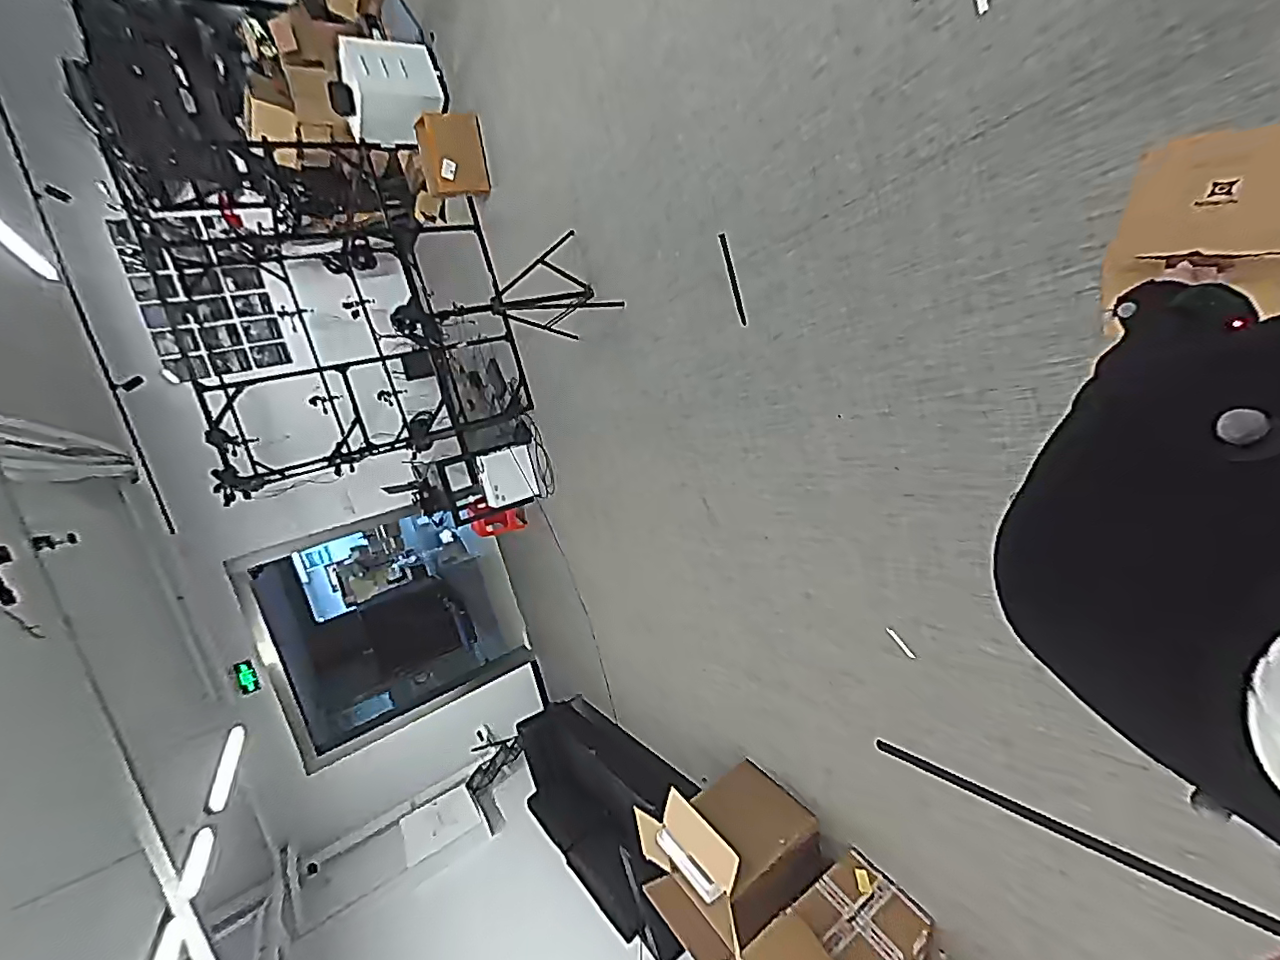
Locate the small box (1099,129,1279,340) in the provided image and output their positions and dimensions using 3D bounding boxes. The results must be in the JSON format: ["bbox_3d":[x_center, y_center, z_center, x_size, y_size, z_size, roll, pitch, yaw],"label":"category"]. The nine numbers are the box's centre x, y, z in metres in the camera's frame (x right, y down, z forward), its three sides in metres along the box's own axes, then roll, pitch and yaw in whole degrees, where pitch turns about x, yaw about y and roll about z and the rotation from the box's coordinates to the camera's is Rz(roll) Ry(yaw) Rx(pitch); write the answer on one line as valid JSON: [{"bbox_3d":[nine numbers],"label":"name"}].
[{"bbox_3d":[0.712,-0.296,0.679,0.168,0.176,0.179,22,82,44],"label":"small box"}]
